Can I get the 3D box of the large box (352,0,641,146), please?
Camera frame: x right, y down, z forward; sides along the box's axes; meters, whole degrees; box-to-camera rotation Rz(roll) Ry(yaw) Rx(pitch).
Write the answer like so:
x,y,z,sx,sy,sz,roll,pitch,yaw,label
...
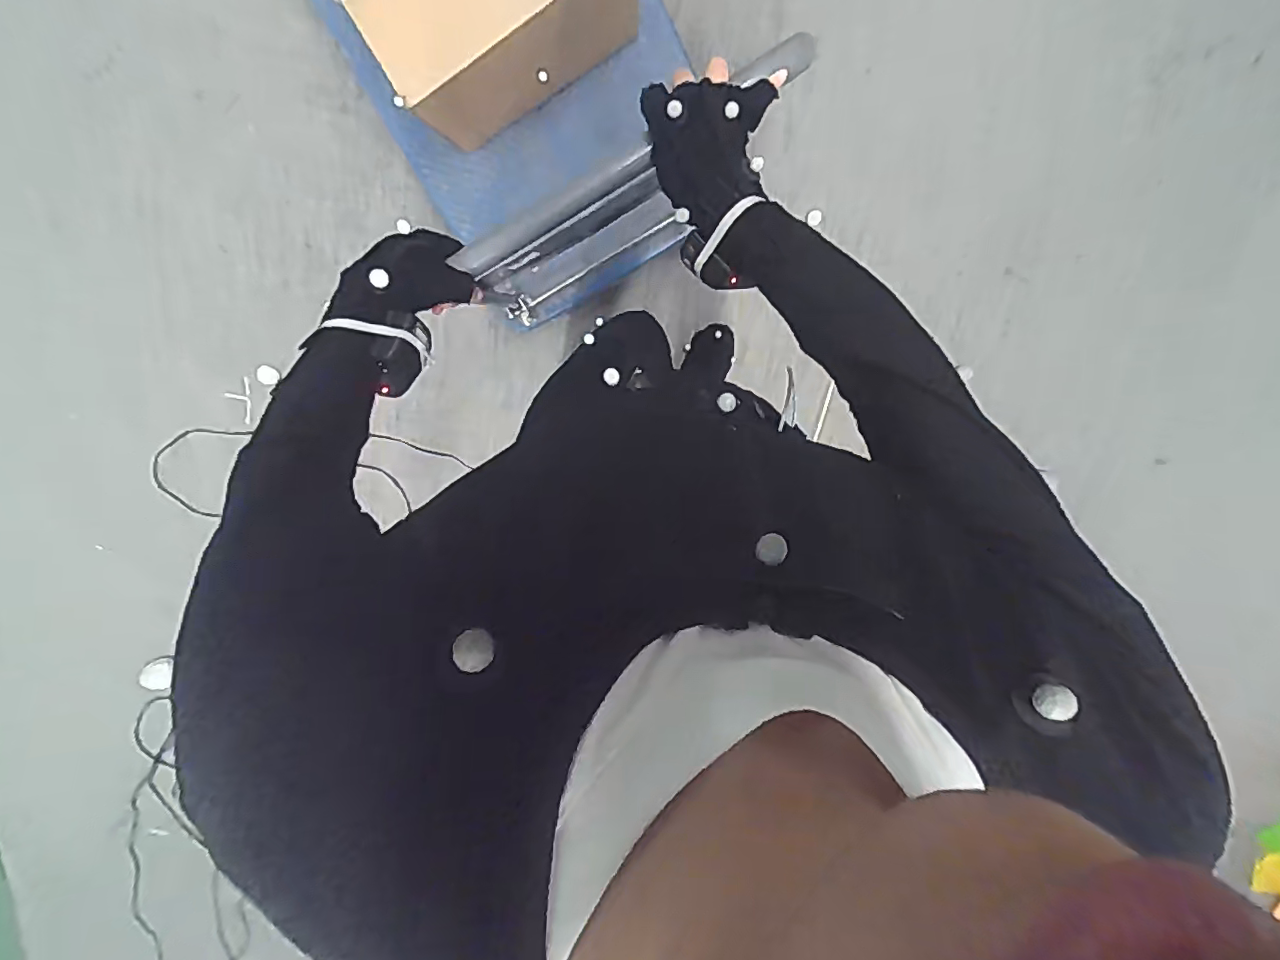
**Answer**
x,y,z,sx,sy,sz,roll,pitch,yaw,label
-0.243,-0.837,0.878,0.408,0.320,0.320,-29,107,11,large box
